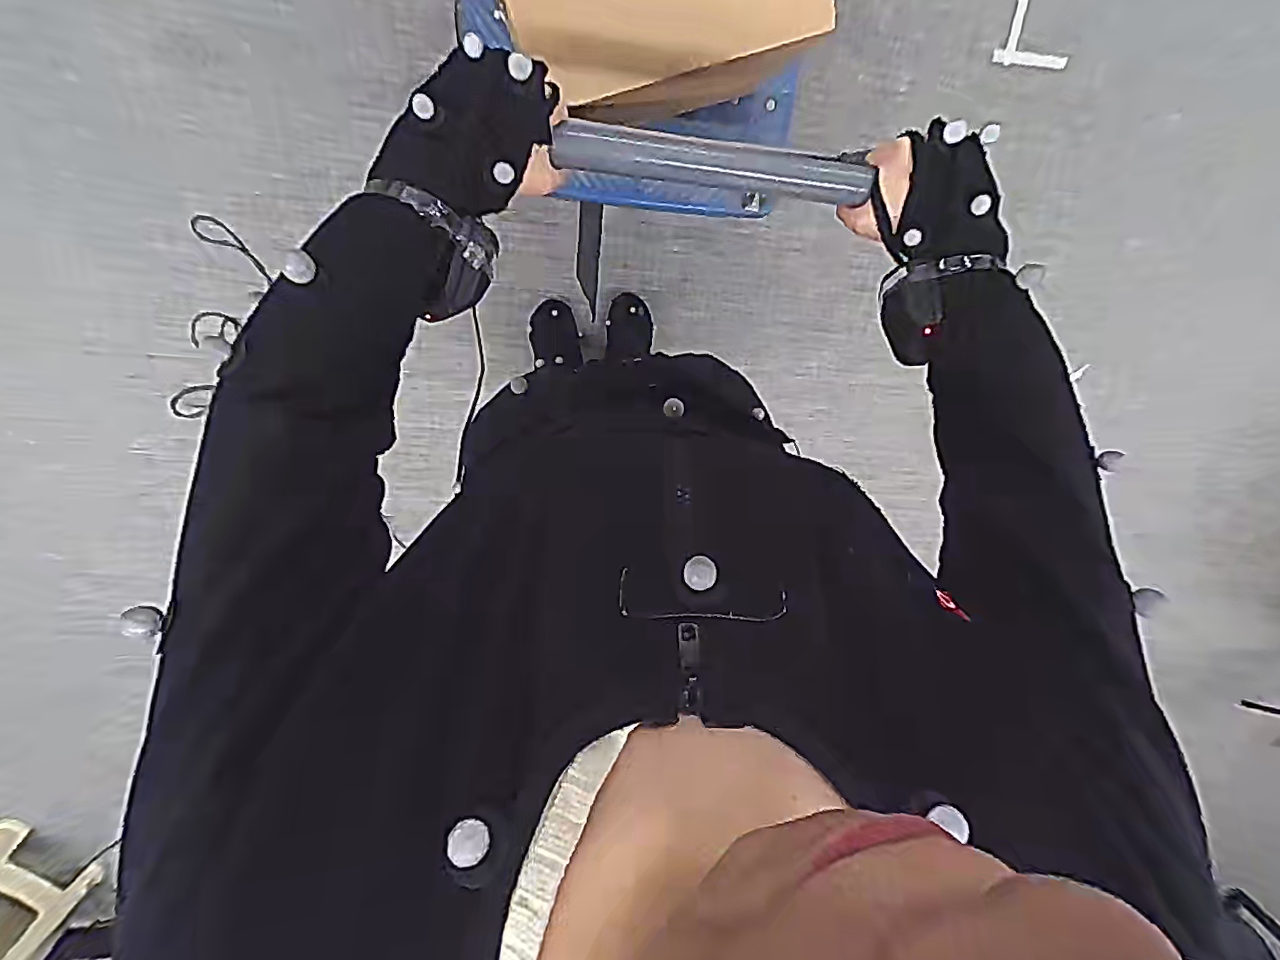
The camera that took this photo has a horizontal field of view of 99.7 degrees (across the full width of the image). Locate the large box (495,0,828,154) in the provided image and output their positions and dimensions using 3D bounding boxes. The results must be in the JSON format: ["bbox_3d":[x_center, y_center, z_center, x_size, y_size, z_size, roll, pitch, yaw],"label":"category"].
[{"bbox_3d":[-0.004,-0.720,0.778,0.408,0.320,0.320,-18,115,-2],"label":"large box"}]
